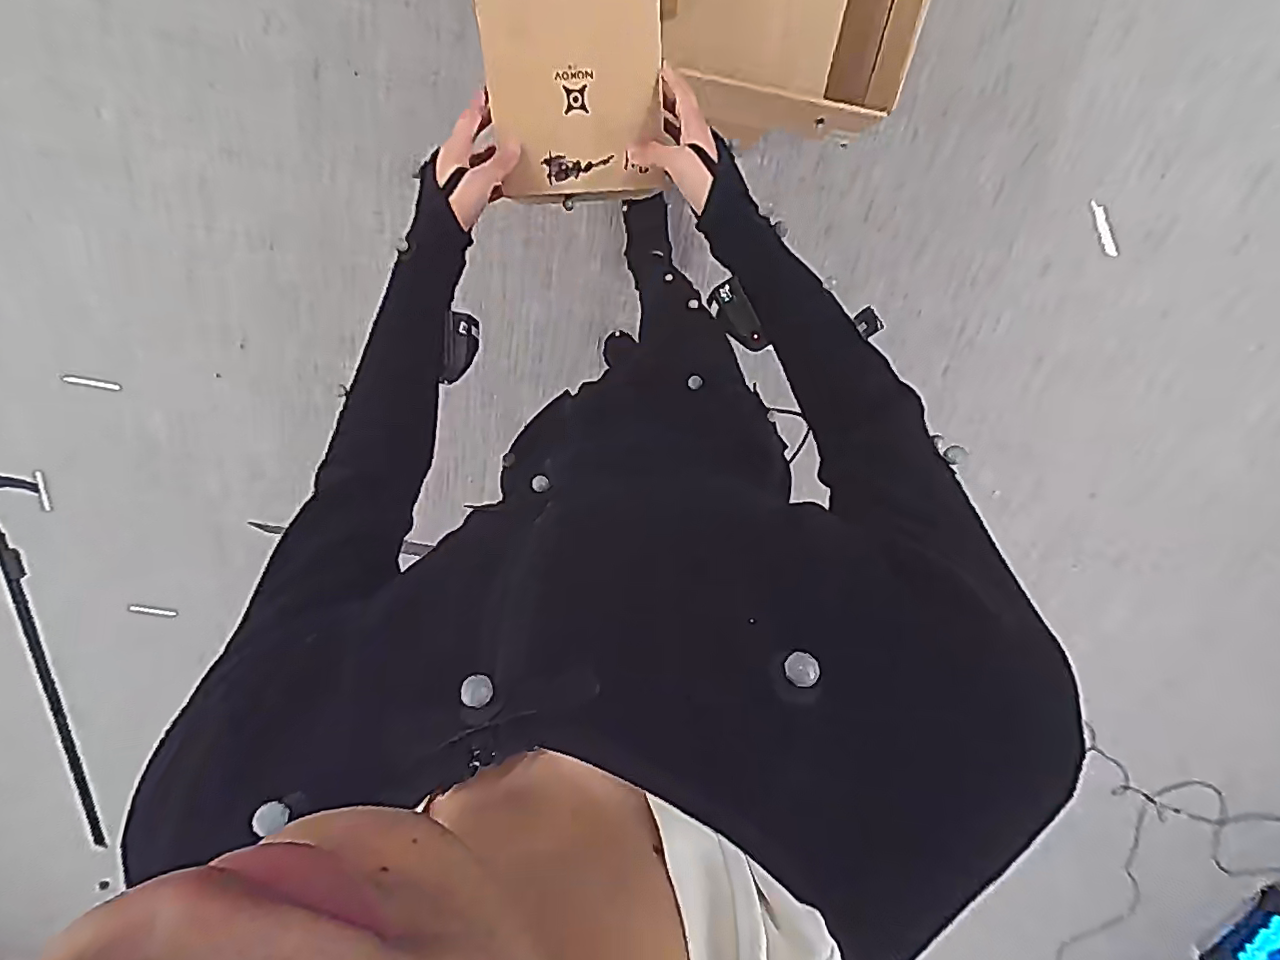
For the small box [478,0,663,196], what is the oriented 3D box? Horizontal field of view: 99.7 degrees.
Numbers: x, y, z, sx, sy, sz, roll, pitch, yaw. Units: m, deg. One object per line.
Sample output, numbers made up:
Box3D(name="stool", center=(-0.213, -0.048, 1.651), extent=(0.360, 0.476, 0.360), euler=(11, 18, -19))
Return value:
Box3D(name="small box", center=(-0.068, -0.408, 0.572), extent=(0.168, 0.176, 0.179), euler=(-4, 115, -3))
